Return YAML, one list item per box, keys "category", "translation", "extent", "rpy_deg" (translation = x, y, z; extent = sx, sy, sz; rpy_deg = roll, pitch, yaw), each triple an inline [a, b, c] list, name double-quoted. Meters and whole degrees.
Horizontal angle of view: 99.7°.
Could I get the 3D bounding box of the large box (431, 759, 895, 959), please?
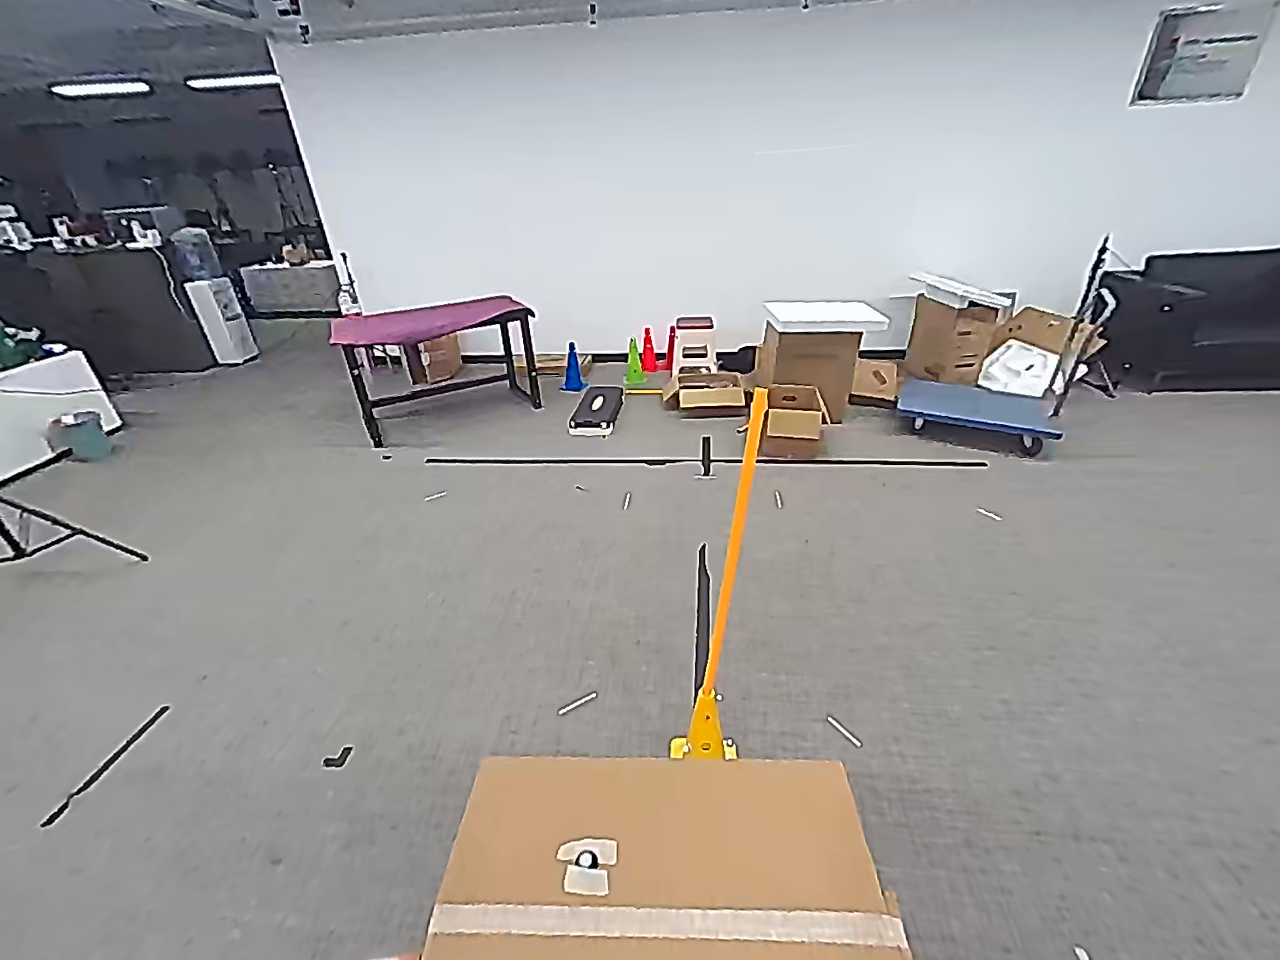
- category: "large box"
  translation: [0.029, 0.525, 0.553]
  extent: [0.408, 0.320, 0.320]
  rpy_deg: [-3, 29, 4]
